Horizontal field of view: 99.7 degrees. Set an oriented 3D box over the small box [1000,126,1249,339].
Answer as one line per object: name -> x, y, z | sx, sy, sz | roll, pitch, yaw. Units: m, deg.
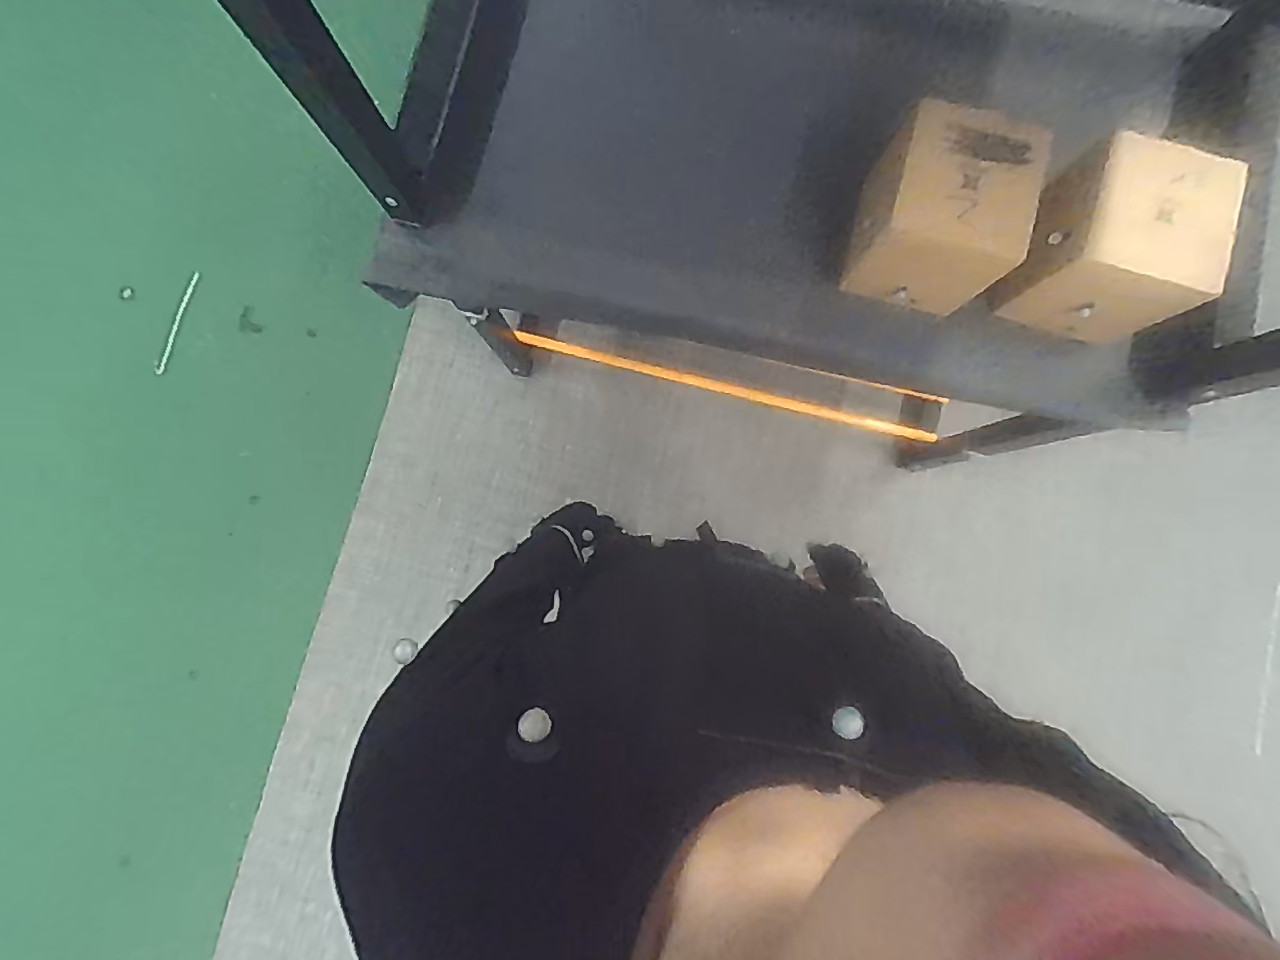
small box -> 0.619, -0.311, 0.716 | 0.168, 0.176, 0.179 | 18, 84, 2
